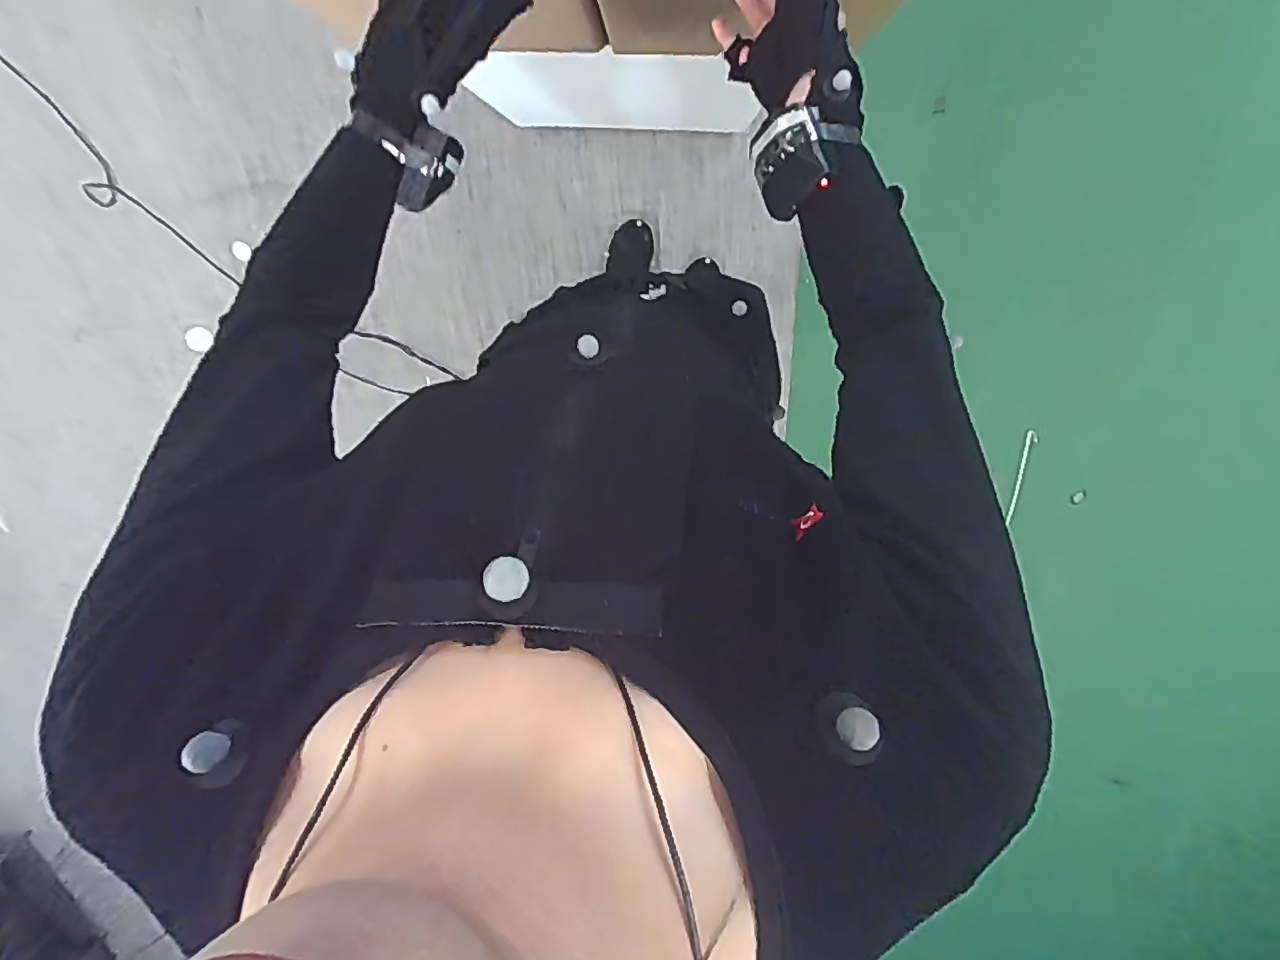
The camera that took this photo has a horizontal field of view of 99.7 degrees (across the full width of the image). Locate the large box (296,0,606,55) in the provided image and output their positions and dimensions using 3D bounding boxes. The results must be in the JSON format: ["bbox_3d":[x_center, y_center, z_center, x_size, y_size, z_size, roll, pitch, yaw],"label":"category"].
[{"bbox_3d":[-0.204,-0.675,0.483,0.320,0.320,0.408,2,113,2],"label":"large box"}]
